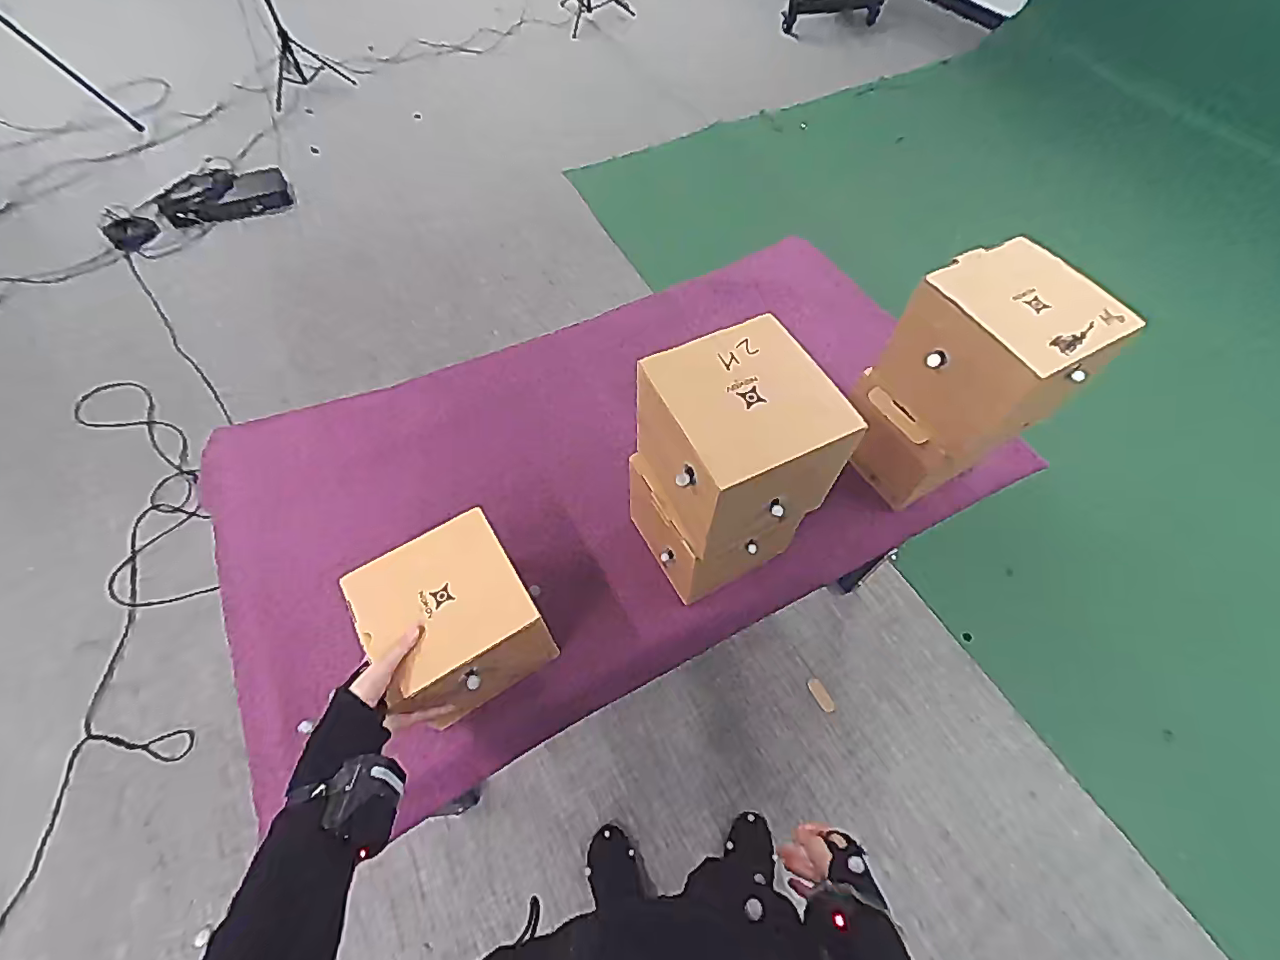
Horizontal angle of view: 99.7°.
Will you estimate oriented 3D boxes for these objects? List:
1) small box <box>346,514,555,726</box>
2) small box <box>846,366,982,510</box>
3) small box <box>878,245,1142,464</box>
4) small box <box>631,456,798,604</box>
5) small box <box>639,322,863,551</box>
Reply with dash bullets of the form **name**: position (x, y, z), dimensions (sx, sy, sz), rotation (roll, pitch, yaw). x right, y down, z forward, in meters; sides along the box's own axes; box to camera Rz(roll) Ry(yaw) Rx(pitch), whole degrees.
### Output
- **small box**: position (-0.219, 0.178, 0.671), dimensions (0.179, 0.176, 0.168), rotation (-30, 63, -15)
- **small box**: position (0.430, -0.082, 0.826), dimensions (0.179, 0.176, 0.168), rotation (-27, 63, -15)
- **small box**: position (0.437, -0.152, 0.676), dimensions (0.168, 0.176, 0.179), rotation (-25, 62, -13)
- **small box**: position (0.102, 0.046, 0.752), dimensions (0.179, 0.176, 0.168), rotation (-25, 61, -14)
- **small box**: position (0.109, -0.039, 0.611), dimensions (0.168, 0.176, 0.179), rotation (-22, 61, -13)
